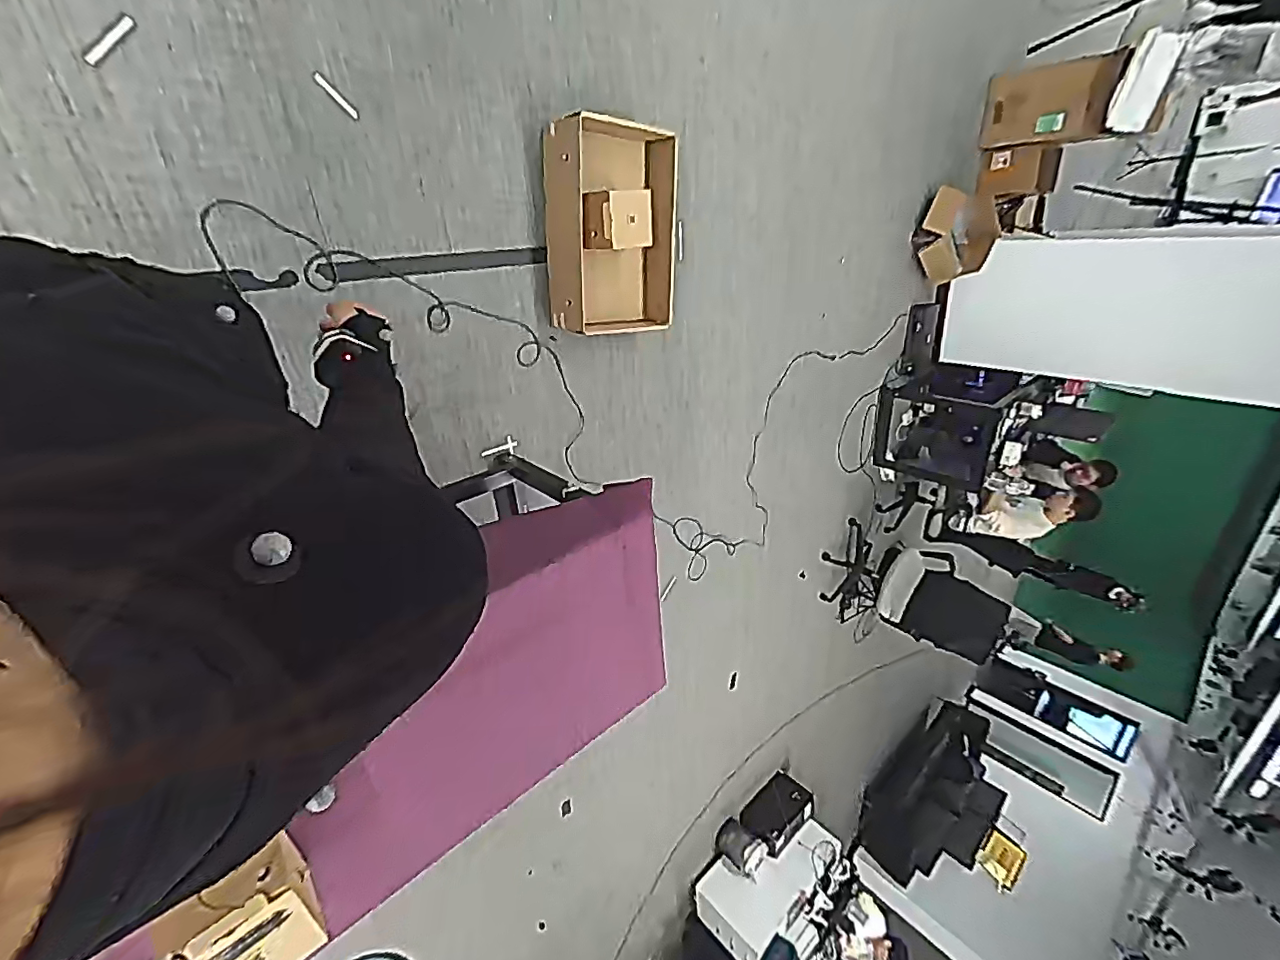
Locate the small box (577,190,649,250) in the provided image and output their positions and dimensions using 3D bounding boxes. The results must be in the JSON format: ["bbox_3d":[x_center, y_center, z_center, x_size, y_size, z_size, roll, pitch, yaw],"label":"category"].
[{"bbox_3d":[-0.091,-0.841,1.752,0.179,0.176,0.168,-24,123,-36],"label":"small box"}]
